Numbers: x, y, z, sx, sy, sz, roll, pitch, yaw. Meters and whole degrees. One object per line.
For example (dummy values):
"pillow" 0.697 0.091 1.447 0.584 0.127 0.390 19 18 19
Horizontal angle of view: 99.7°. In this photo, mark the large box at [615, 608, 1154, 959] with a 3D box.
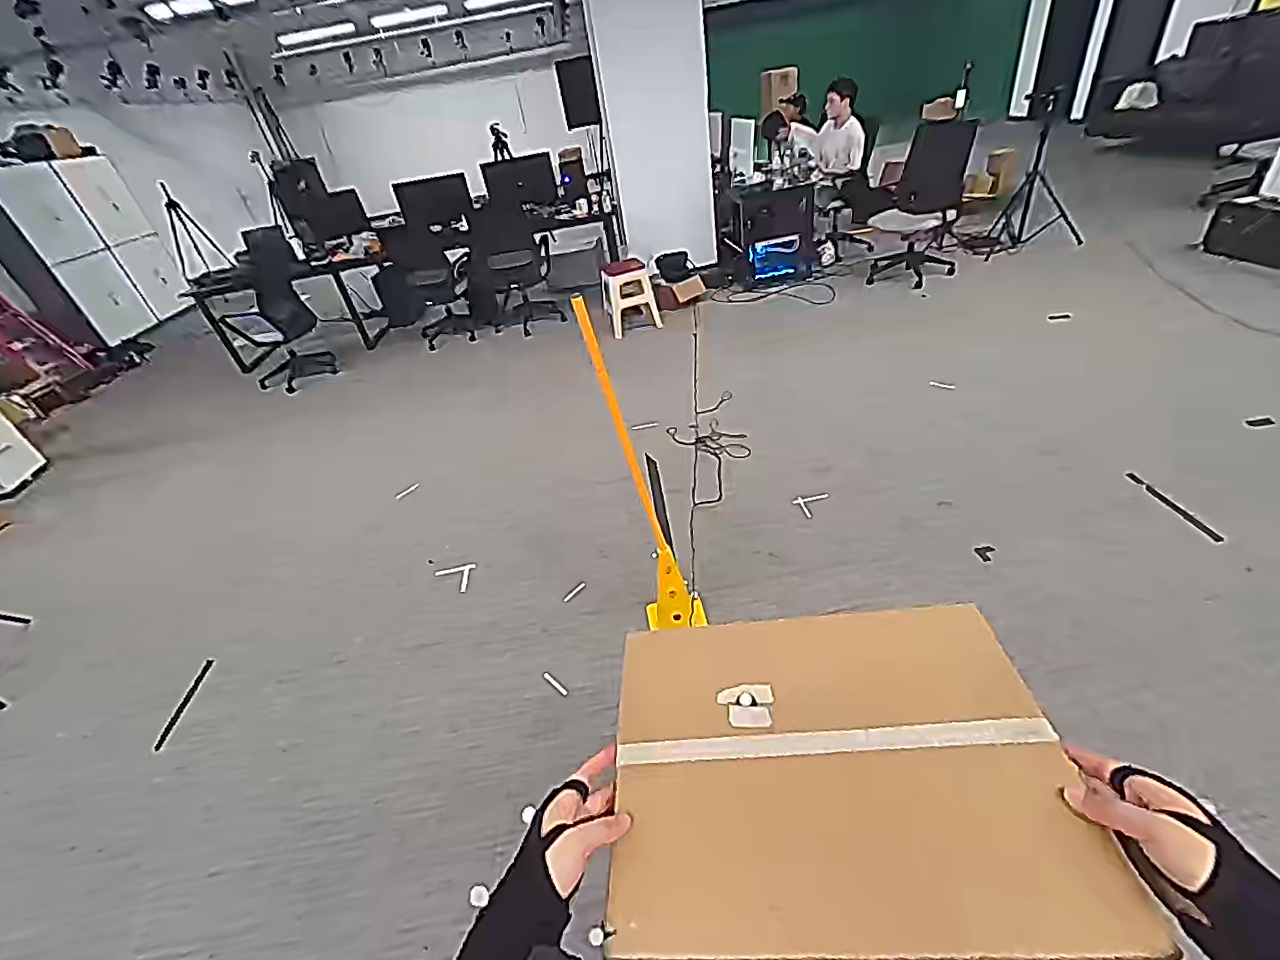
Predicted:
"large box" 0.208 0.385 0.612 0.408 0.320 0.320 -8 33 8
